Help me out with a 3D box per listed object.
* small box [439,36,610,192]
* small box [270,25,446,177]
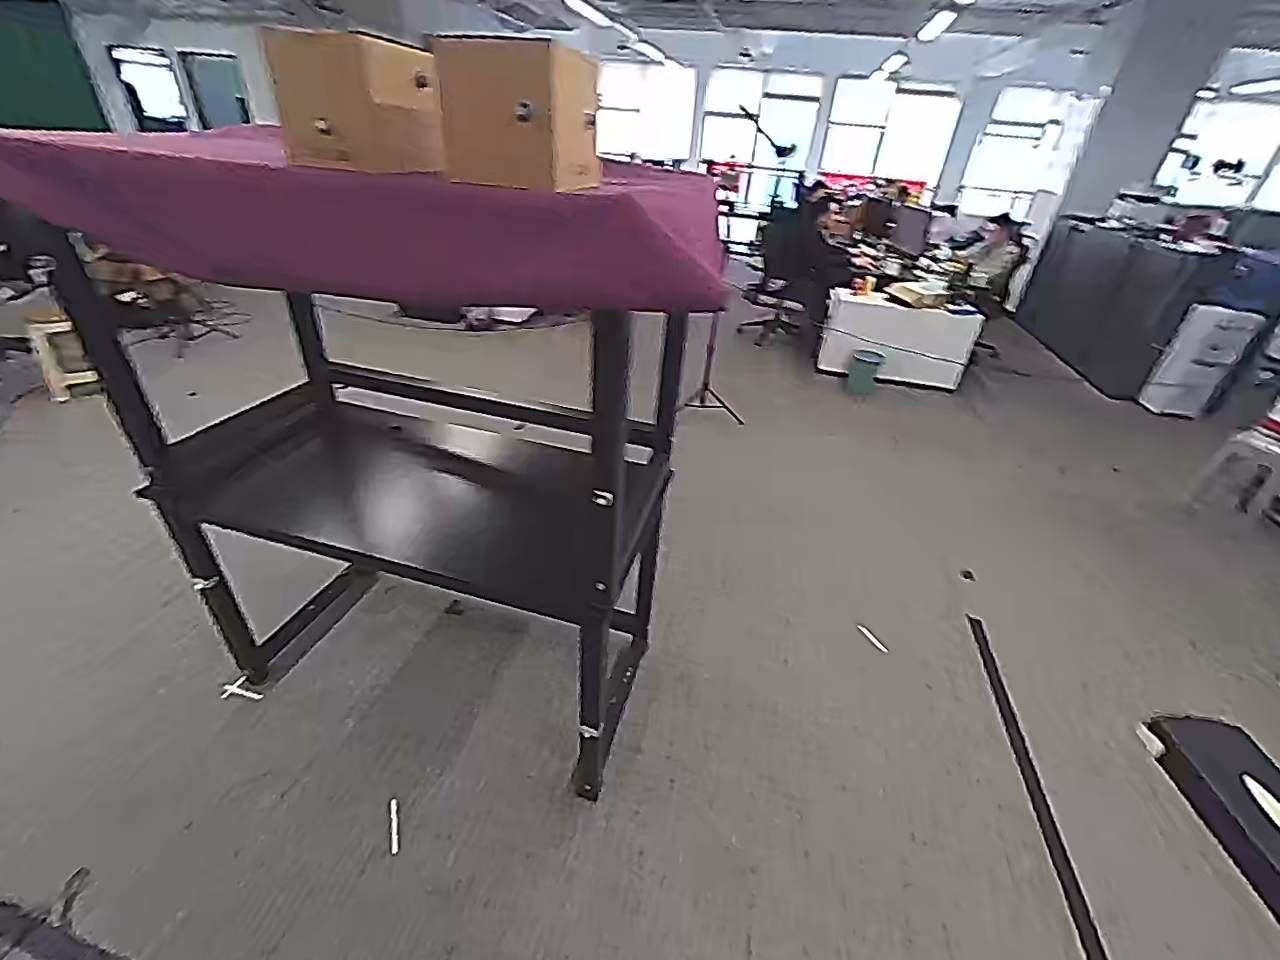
[{"bbox_3d":[-0.154,-0.511,0.772,0.179,0.176,0.168,12,32,14],"label":"small box"},{"bbox_3d":[-0.420,-0.577,0.840,0.168,0.176,0.179,11,32,10],"label":"small box"}]
